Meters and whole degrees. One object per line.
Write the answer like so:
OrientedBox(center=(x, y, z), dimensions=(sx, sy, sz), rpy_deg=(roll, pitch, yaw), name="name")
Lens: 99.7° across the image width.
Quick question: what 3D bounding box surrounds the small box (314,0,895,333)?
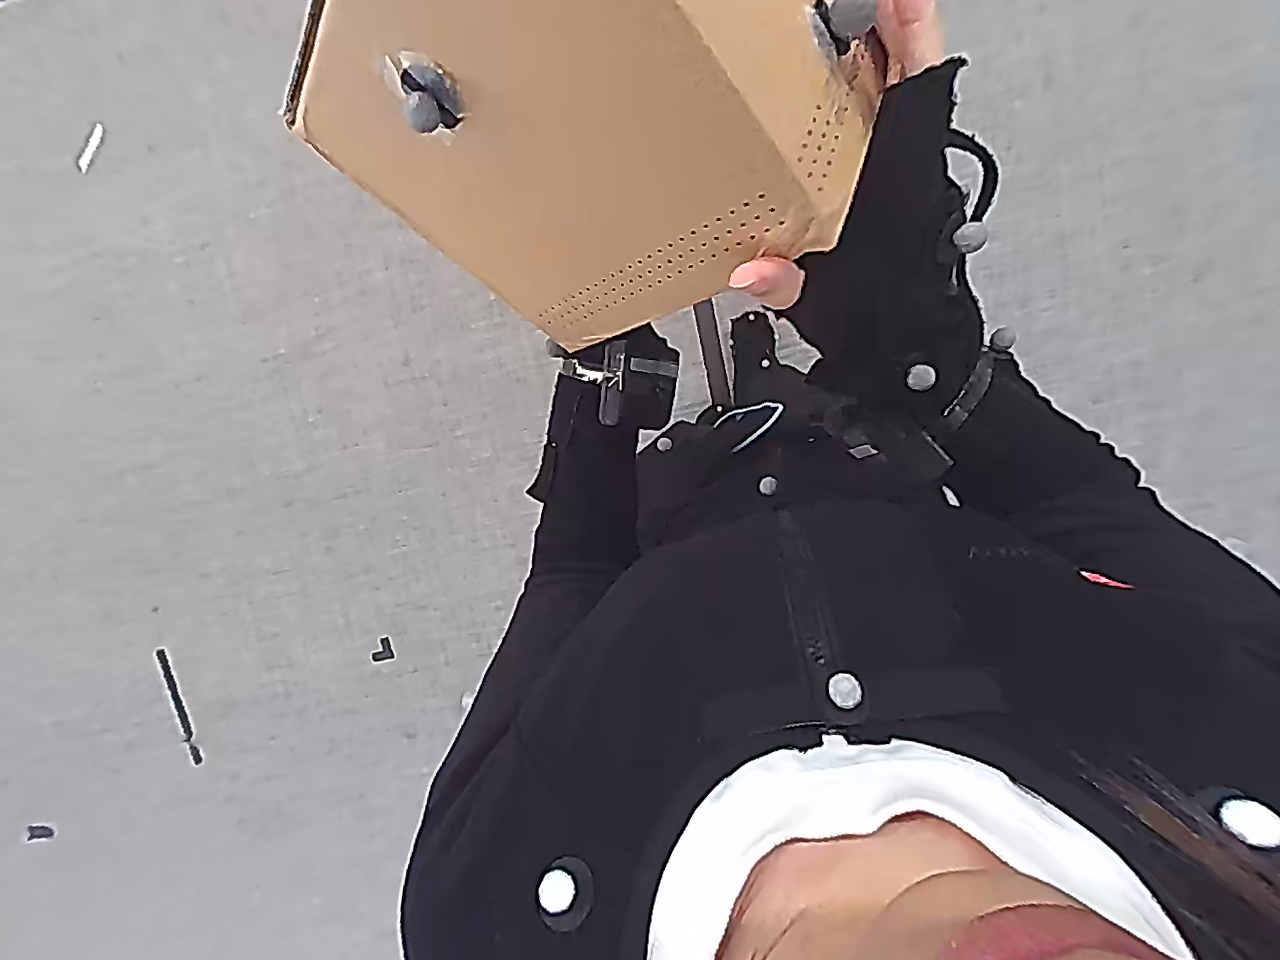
OrientedBox(center=(-0.012, -0.196, 0.255), dimensions=(0.176, 0.179, 0.168), rpy_deg=(33, 66, -35), name="small box")
